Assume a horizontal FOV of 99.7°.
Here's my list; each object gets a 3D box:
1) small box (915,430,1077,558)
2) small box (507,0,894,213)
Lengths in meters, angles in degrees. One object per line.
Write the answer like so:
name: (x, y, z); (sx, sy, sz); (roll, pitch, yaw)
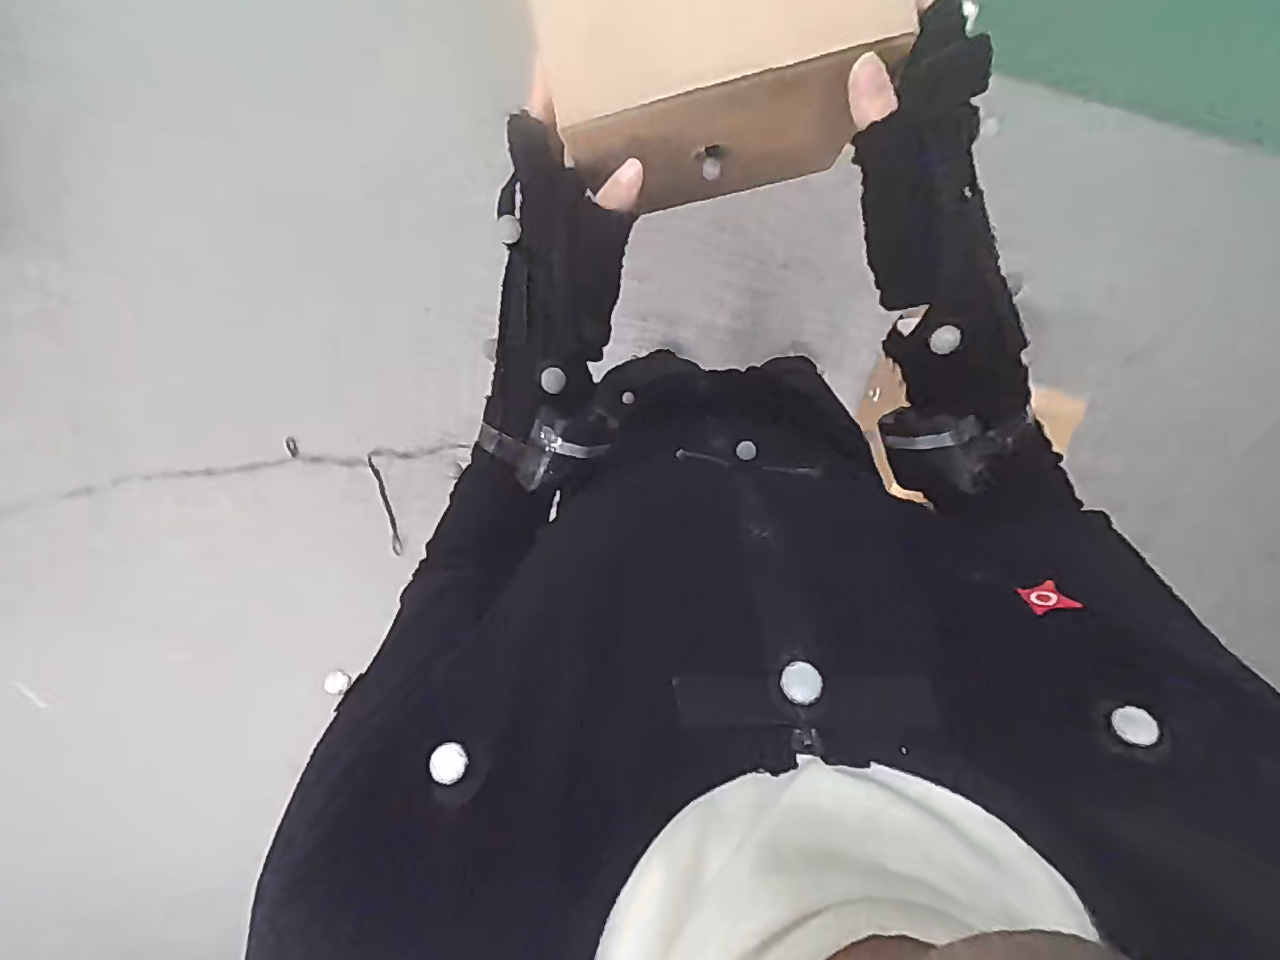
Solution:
small box: (0.659, 0.017, 1.030); (0.168, 0.176, 0.179); (15, 108, -1)
small box: (0.025, -0.283, 0.321); (0.179, 0.176, 0.168); (-11, 100, 10)
